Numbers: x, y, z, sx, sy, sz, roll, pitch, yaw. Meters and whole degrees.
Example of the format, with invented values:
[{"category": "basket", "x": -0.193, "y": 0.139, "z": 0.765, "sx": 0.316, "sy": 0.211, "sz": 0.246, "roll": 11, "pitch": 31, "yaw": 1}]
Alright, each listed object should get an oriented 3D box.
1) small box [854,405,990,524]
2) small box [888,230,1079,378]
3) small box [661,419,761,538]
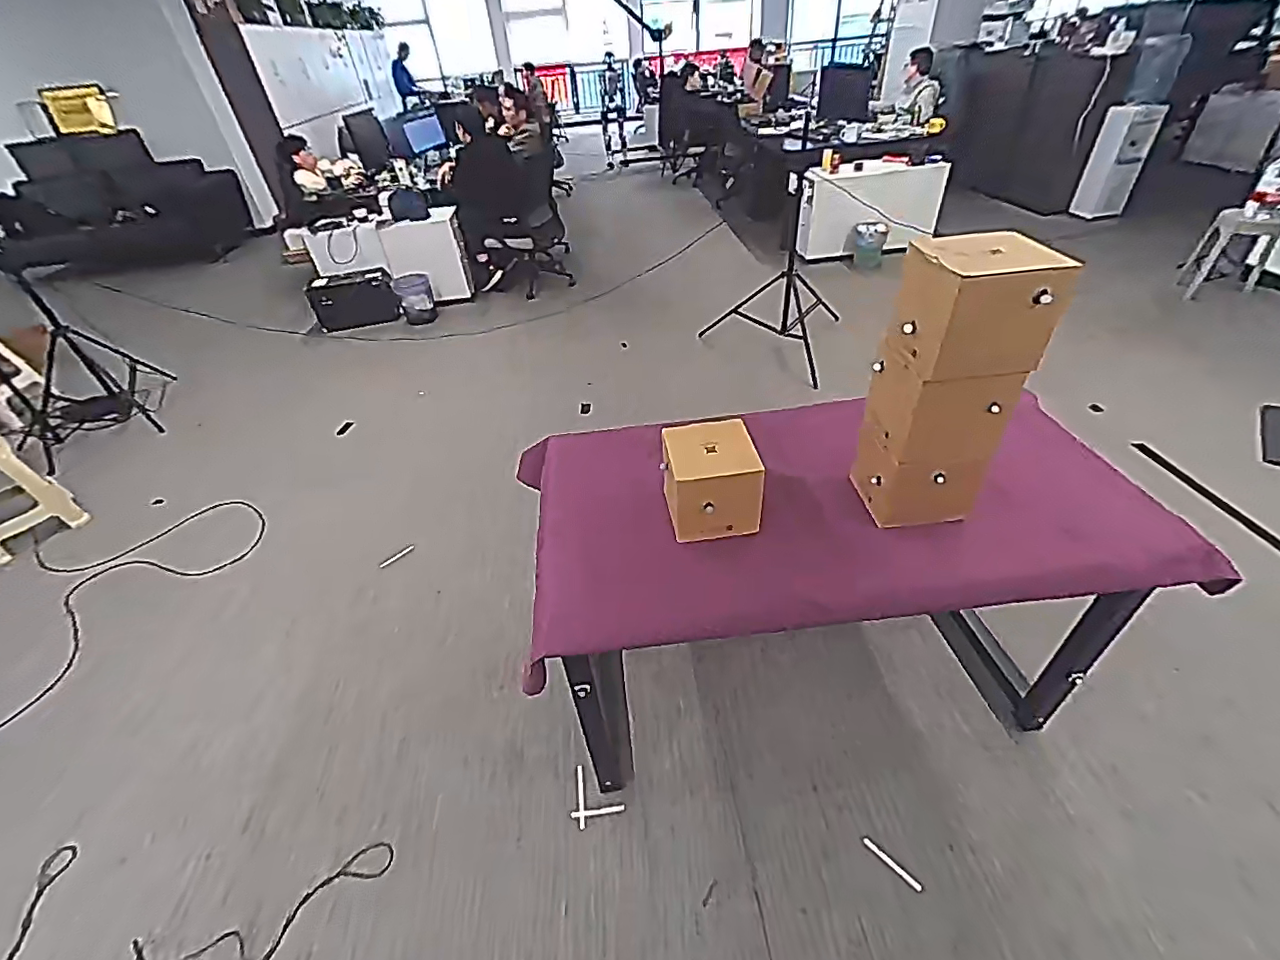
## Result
[{"category": "small box", "x": 0.542, "y": -0.028, "z": 1.073, "sx": 0.179, "sy": 0.176, "sz": 0.168, "roll": -6, "pitch": 40, "yaw": -1}, {"category": "small box", "x": 0.526, "y": -0.279, "z": 0.861, "sx": 0.179, "sy": 0.176, "sz": 0.168, "roll": -7, "pitch": 39, "yaw": 0}, {"category": "small box", "x": 0.140, "y": 0.001, "z": 1.089, "sx": 0.168, "sy": 0.176, "sz": 0.179, "roll": -8, "pitch": 39, "yaw": -2}]
